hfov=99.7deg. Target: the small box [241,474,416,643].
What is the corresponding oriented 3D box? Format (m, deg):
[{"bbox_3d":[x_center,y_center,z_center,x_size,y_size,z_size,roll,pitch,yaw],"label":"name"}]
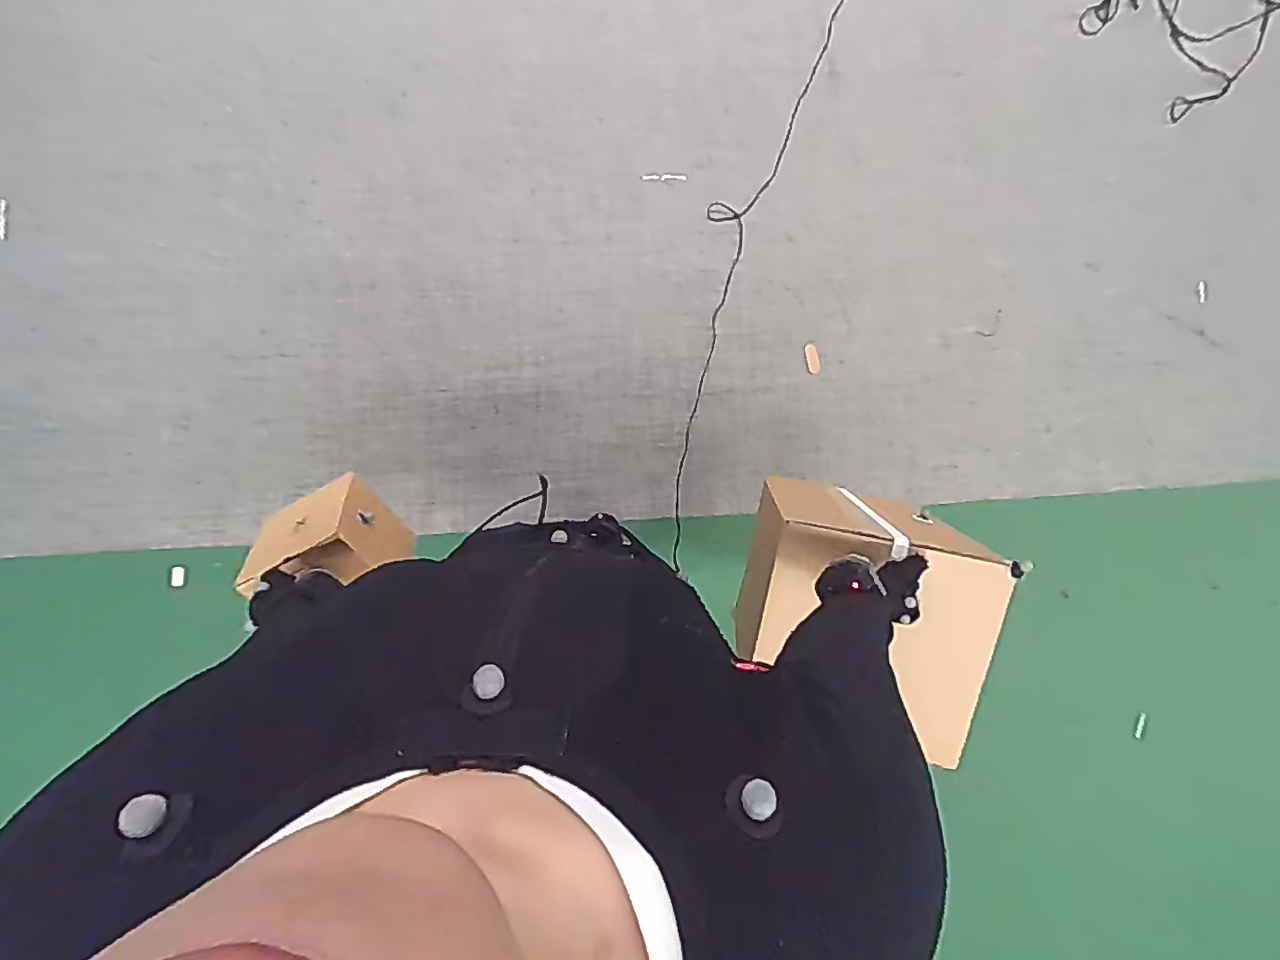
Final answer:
[{"bbox_3d":[-0.486,0.127,0.880,0.168,0.179,0.176,-27,127,0],"label":"small box"}]
